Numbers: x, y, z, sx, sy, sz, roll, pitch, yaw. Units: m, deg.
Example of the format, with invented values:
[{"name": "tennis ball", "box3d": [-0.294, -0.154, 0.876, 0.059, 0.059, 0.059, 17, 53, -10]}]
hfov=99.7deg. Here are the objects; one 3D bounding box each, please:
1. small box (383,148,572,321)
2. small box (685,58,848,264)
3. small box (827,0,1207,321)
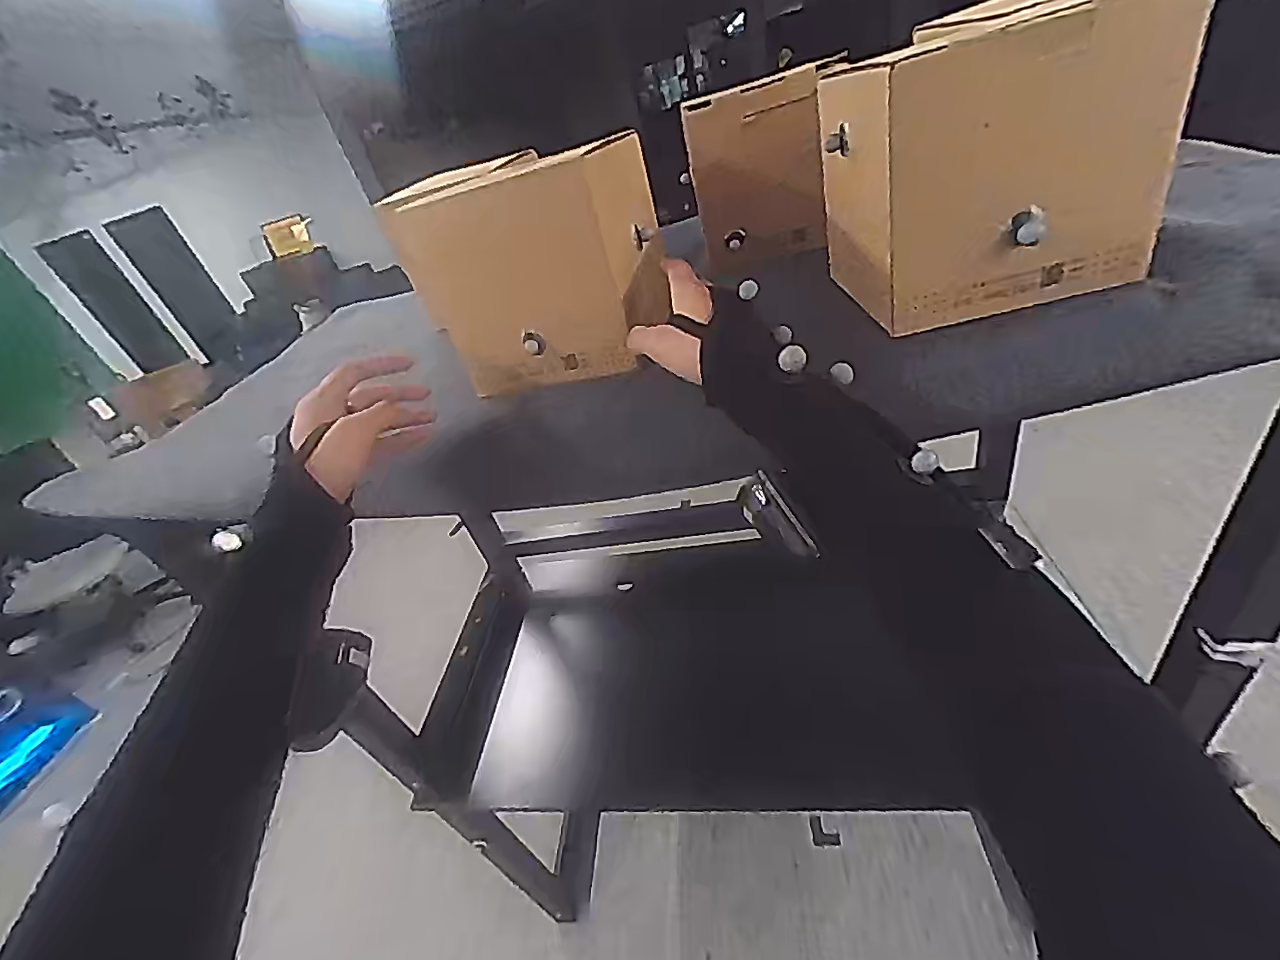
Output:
[{"name": "small box", "box3d": [-0.209, -0.340, 0.755, 0.168, 0.176, 0.179, -6, 36, 17]}, {"name": "small box", "box3d": [0.151, -0.375, 0.647, 0.168, 0.176, 0.179, -10, 35, 11]}, {"name": "small box", "box3d": [0.247, -0.237, 0.409, 0.168, 0.176, 0.179, -11, 33, 10]}]
